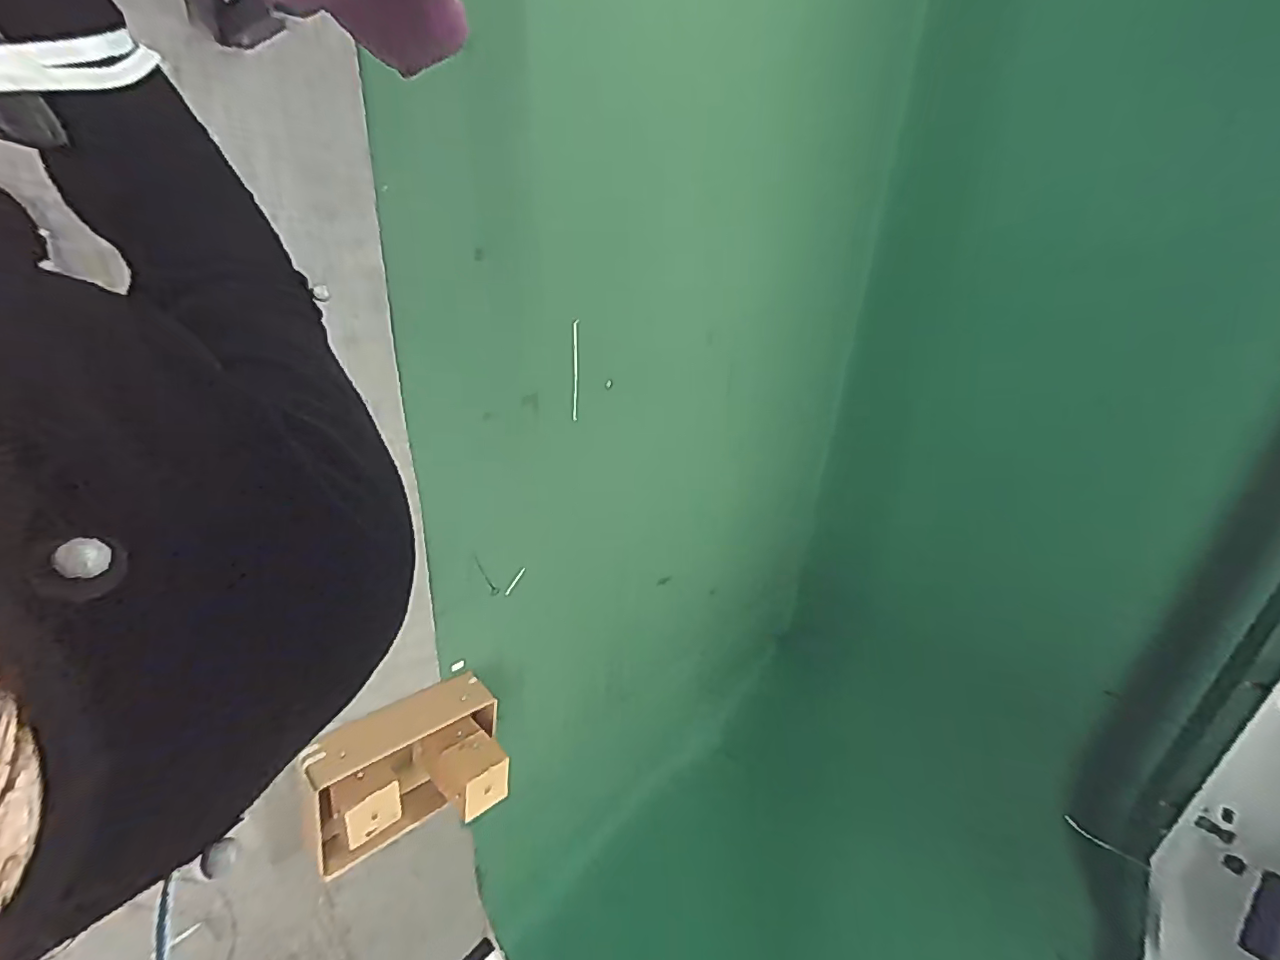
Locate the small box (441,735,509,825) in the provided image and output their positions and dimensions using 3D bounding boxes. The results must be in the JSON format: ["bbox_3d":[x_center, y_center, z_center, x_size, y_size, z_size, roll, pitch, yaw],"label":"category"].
[{"bbox_3d":[-0.575,1.034,1.879,0.168,0.176,0.179,-13,117,-46],"label":"small box"}]
